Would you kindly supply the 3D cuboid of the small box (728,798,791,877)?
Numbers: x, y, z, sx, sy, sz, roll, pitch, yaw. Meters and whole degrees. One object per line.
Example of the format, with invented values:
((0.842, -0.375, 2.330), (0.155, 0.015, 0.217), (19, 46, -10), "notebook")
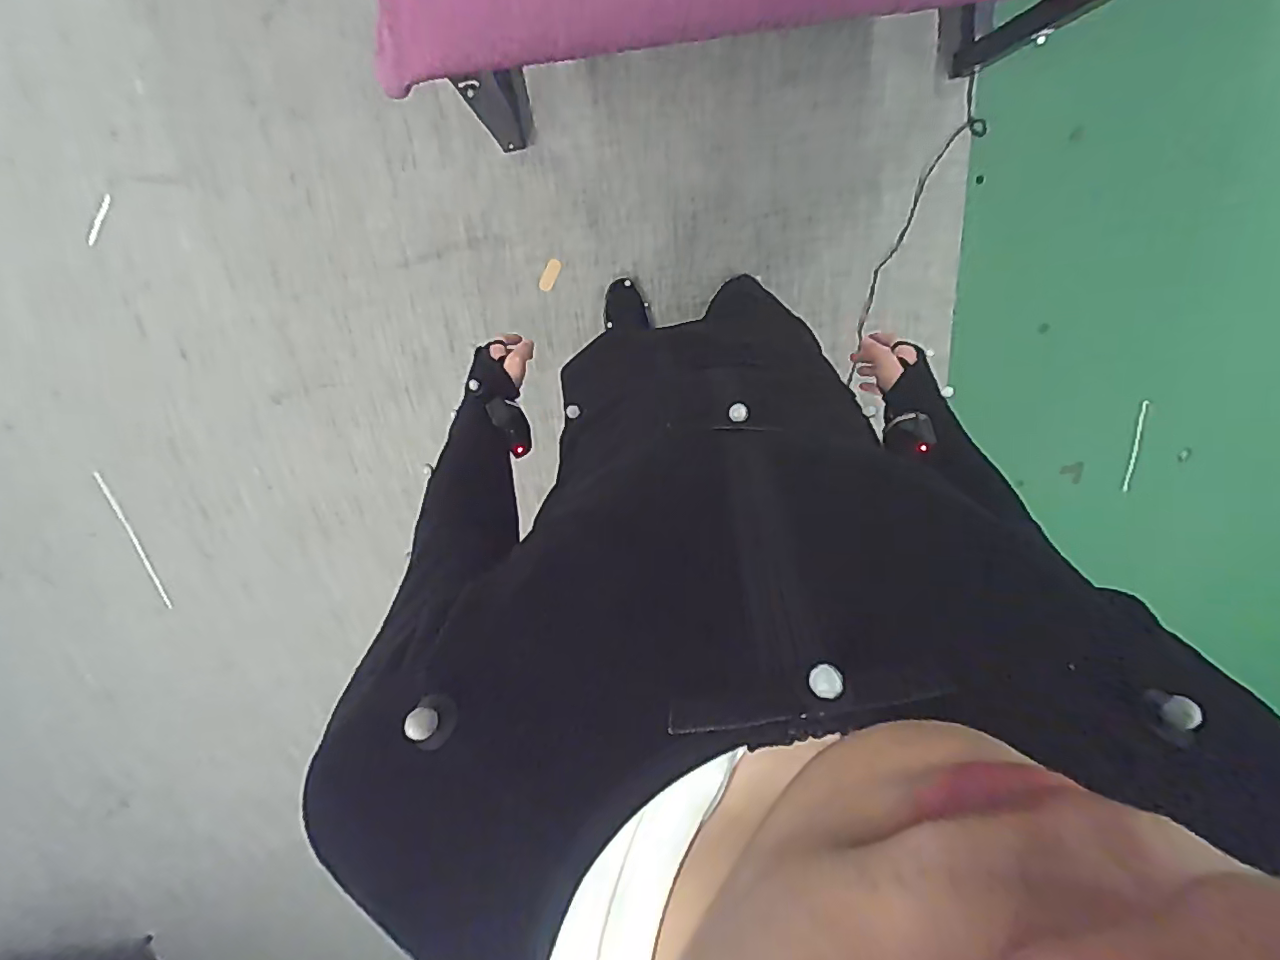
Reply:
((0.414, 1.255, 1.904), (0.179, 0.176, 0.168), (-1, 111, -5), "small box")

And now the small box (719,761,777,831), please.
((0.405, 1.202, 2.061), (0.179, 0.176, 0.168), (0, 111, -4), "small box")
